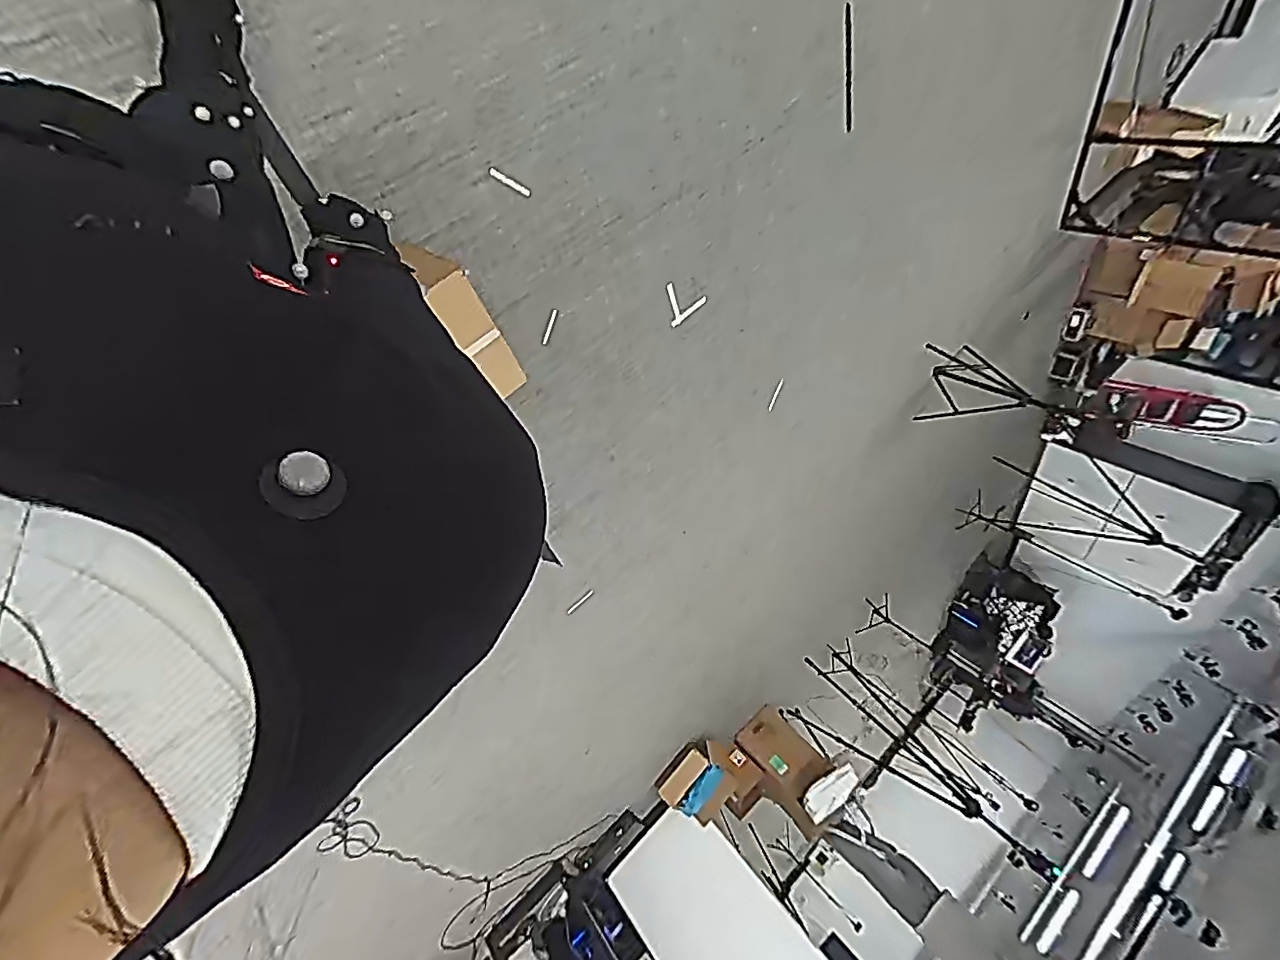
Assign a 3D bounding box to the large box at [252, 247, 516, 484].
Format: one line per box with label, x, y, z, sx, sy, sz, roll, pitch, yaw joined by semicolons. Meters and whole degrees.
large box;-0.579;-0.275;1.251;0.408;0.320;0.320;-43;140;-16
